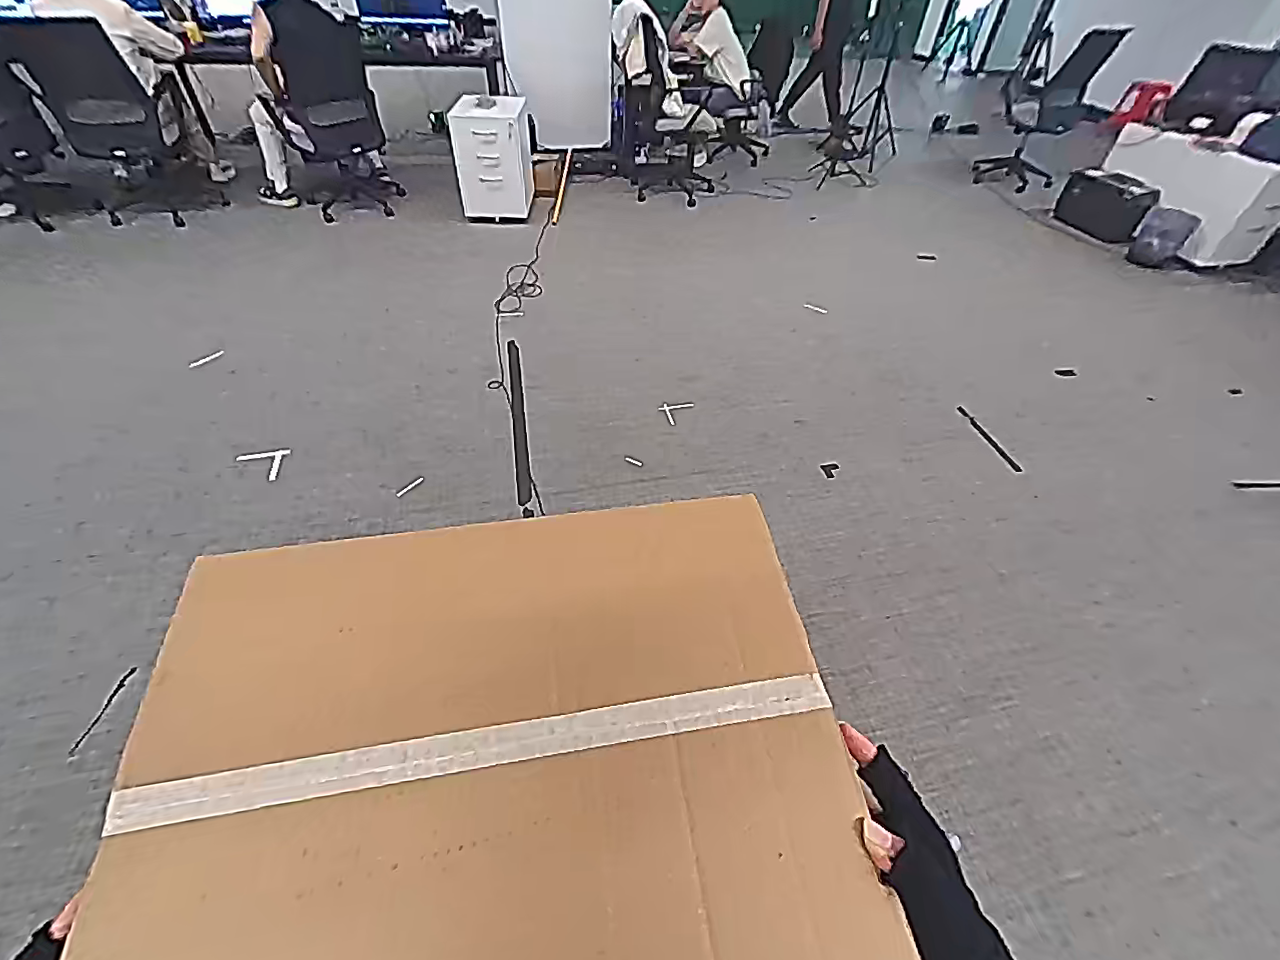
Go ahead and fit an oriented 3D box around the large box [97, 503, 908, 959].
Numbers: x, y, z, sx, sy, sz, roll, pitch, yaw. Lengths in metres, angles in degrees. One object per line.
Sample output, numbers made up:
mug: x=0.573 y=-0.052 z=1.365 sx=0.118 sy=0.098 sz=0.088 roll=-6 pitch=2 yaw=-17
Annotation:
large box: x=-0.088 y=0.252 z=0.447 sx=0.408 sy=0.320 sz=0.320 roll=-6 pitch=55 yaw=-8
